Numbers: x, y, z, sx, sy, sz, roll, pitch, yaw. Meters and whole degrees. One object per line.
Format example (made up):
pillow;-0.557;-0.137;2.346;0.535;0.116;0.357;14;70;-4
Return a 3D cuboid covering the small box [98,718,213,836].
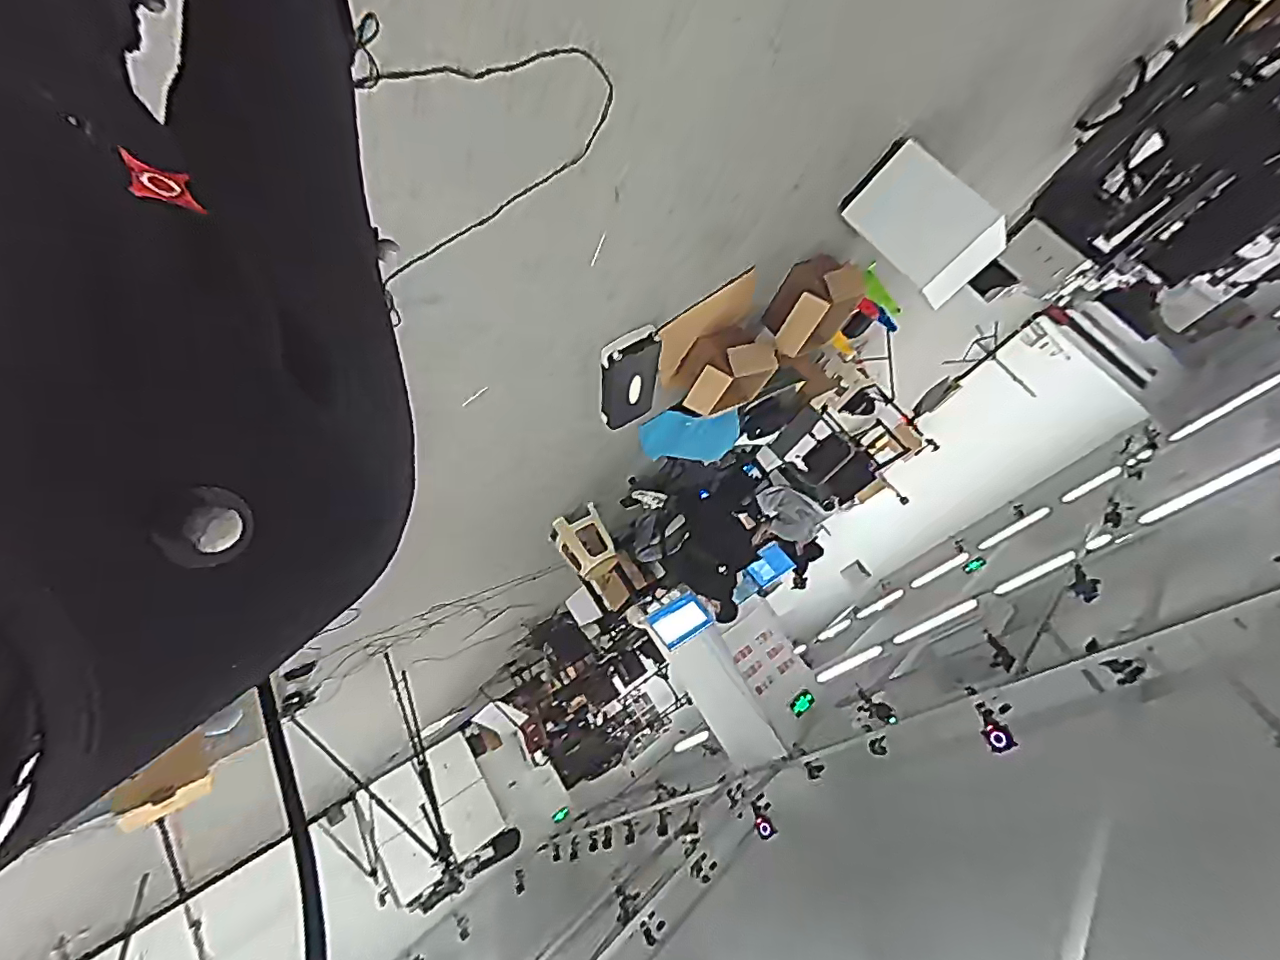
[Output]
small box;-1.126;0.686;1.263;0.168;0.176;0.179;-16;156;-44
